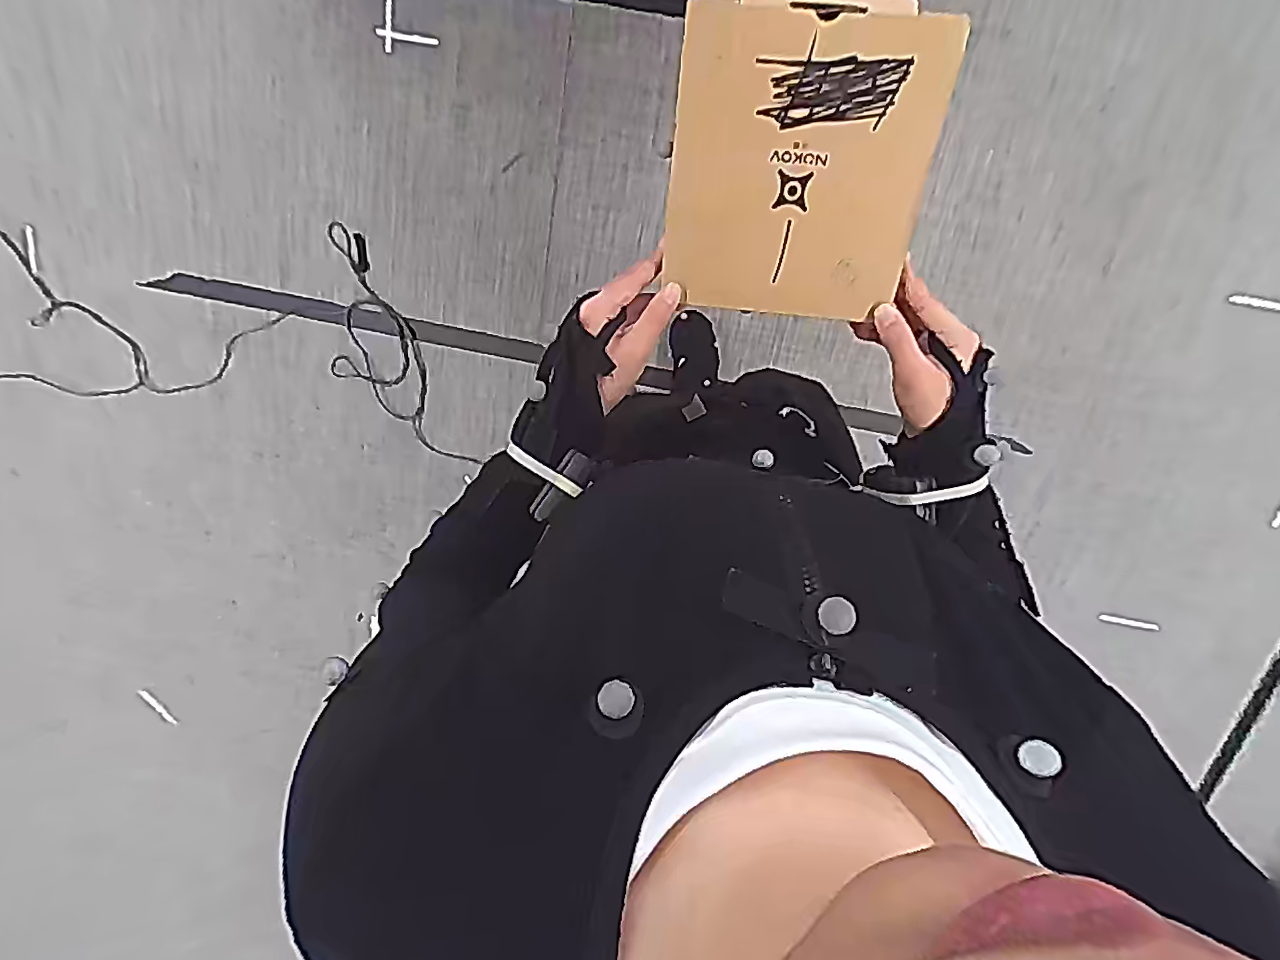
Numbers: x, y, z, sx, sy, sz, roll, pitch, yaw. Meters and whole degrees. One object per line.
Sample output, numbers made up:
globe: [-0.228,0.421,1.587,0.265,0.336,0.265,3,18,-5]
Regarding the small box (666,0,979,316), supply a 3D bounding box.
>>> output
small box: [0.112,-0.236,0.417,0.168,0.176,0.179,7,116,2]
